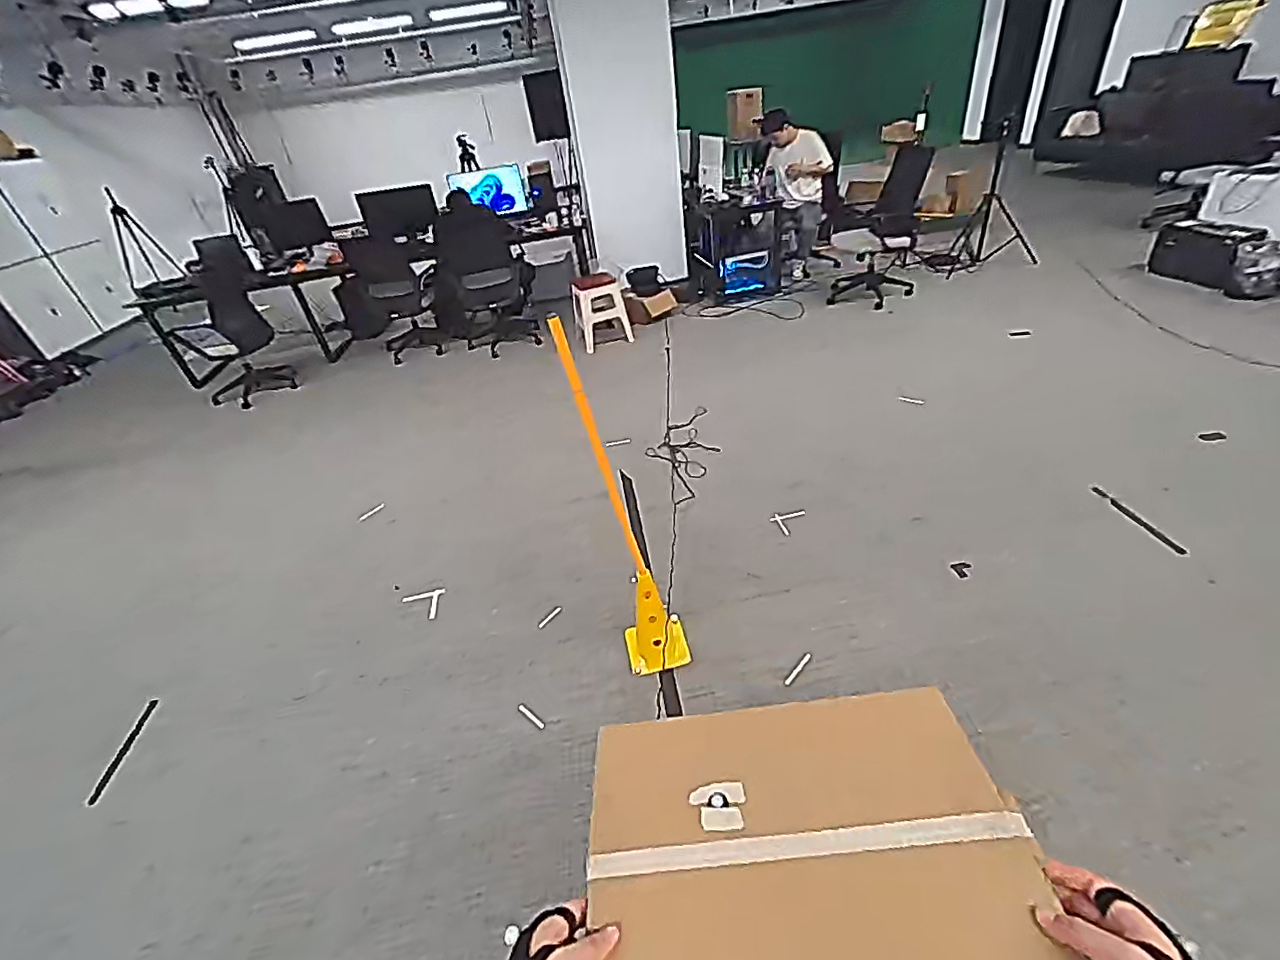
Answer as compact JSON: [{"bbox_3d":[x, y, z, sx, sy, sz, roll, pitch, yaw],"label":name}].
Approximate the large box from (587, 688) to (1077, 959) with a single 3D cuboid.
[{"bbox_3d":[0.178,0.483,0.597,0.408,0.320,0.320,-11,30,6],"label":"large box"}]
